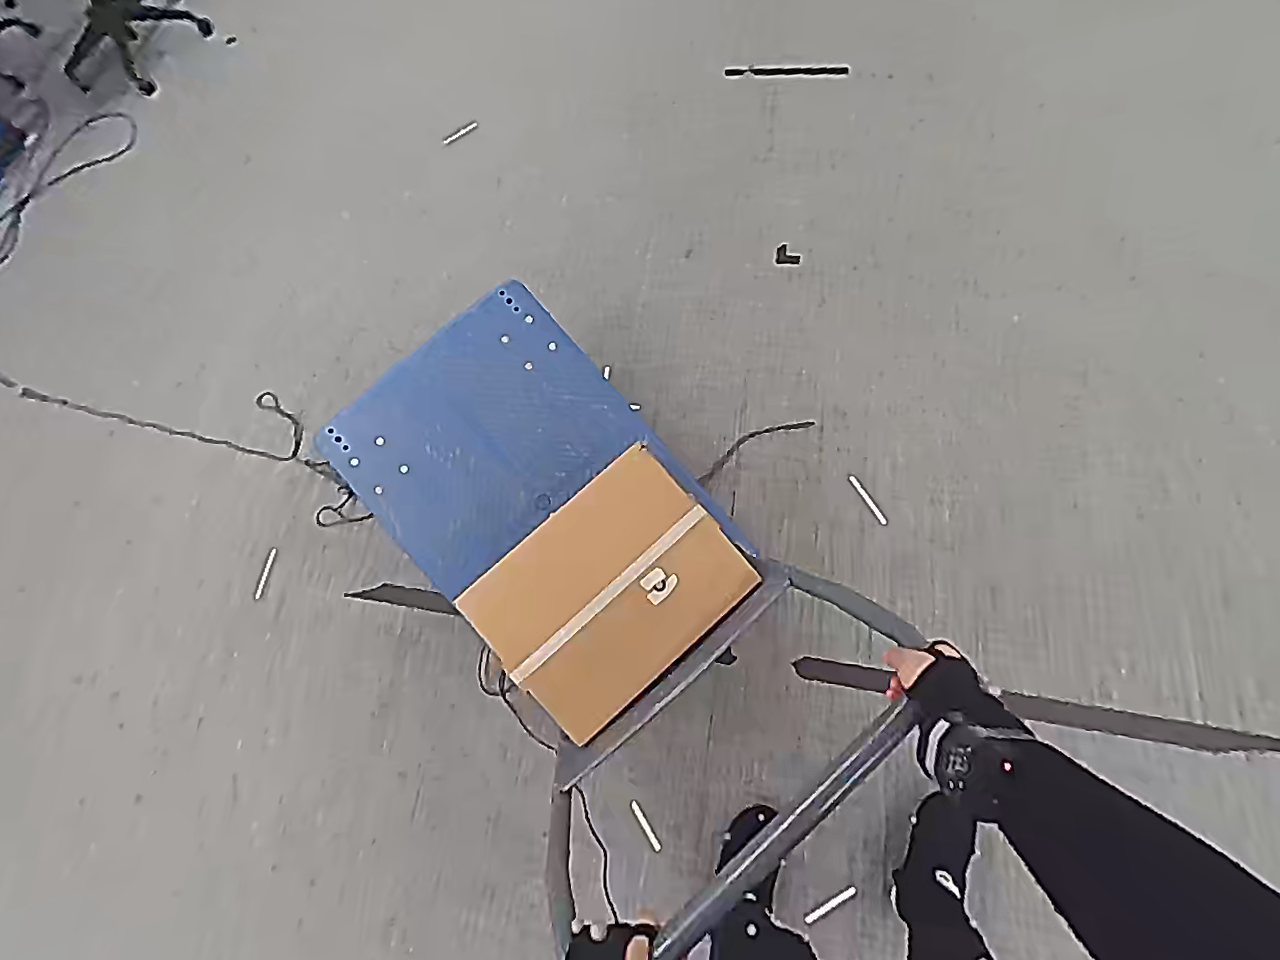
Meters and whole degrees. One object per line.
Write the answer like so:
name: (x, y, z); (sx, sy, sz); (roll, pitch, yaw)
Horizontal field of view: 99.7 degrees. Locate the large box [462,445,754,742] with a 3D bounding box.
large box: (-0.059, 0.197, 1.043); (0.408, 0.320, 0.320); (-42, 90, -6)
